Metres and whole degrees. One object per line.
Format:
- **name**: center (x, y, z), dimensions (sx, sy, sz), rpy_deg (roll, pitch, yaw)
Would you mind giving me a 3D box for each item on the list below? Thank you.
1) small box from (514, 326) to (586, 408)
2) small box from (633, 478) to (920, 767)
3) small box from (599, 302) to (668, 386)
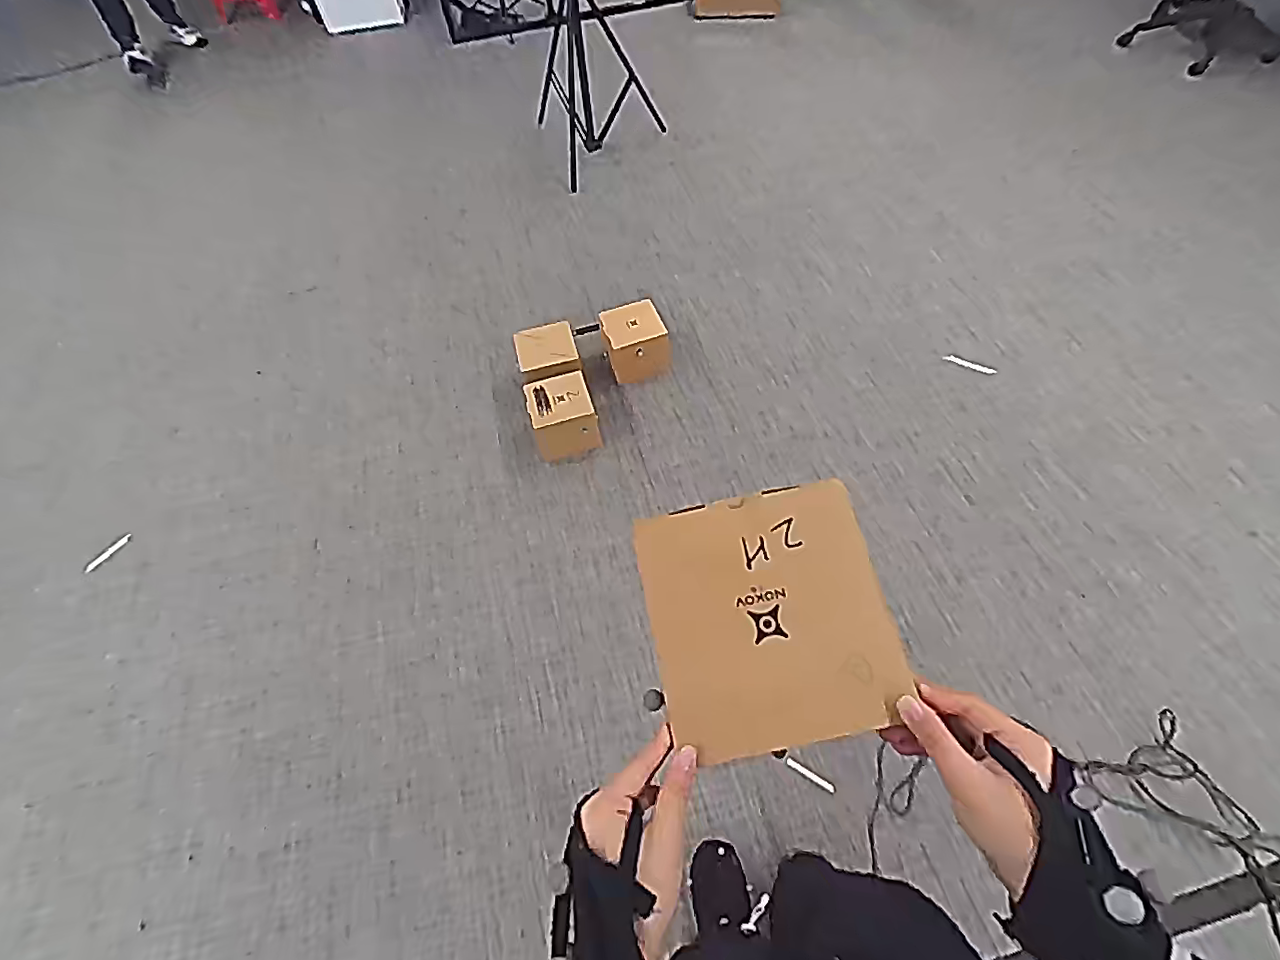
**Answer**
- **small box**: center (-0.279, -0.357, 1.689), dimensions (0.179, 0.176, 0.168), rpy_deg (-14, 59, -5)
- **small box**: center (0.096, 0.121, 0.456), dimensions (0.168, 0.176, 0.179), rpy_deg (-12, 68, 0)
- **small box**: center (-0.020, -0.428, 1.721), dimensions (0.179, 0.176, 0.168), rpy_deg (-19, 60, -7)
